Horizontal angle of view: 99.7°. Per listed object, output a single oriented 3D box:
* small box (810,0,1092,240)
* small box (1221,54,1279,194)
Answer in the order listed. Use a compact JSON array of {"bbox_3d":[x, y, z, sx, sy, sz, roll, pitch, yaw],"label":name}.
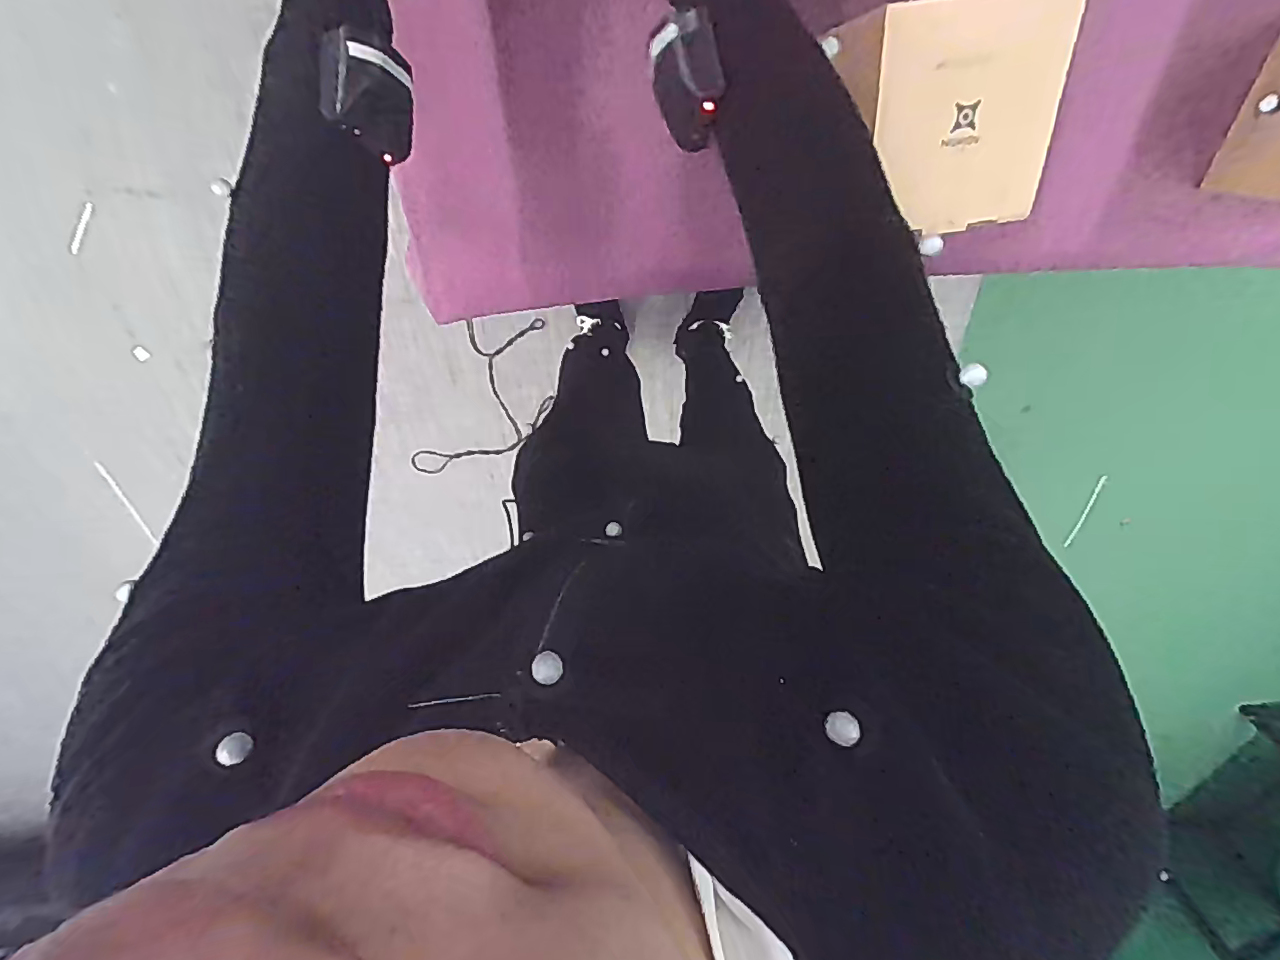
[{"bbox_3d":[0.276,-0.352,0.533,0.168,0.176,0.179,-7,123,0],"label":"small box"},{"bbox_3d":[0.765,-0.379,0.540,0.168,0.176,0.179,1,123,-3],"label":"small box"}]
